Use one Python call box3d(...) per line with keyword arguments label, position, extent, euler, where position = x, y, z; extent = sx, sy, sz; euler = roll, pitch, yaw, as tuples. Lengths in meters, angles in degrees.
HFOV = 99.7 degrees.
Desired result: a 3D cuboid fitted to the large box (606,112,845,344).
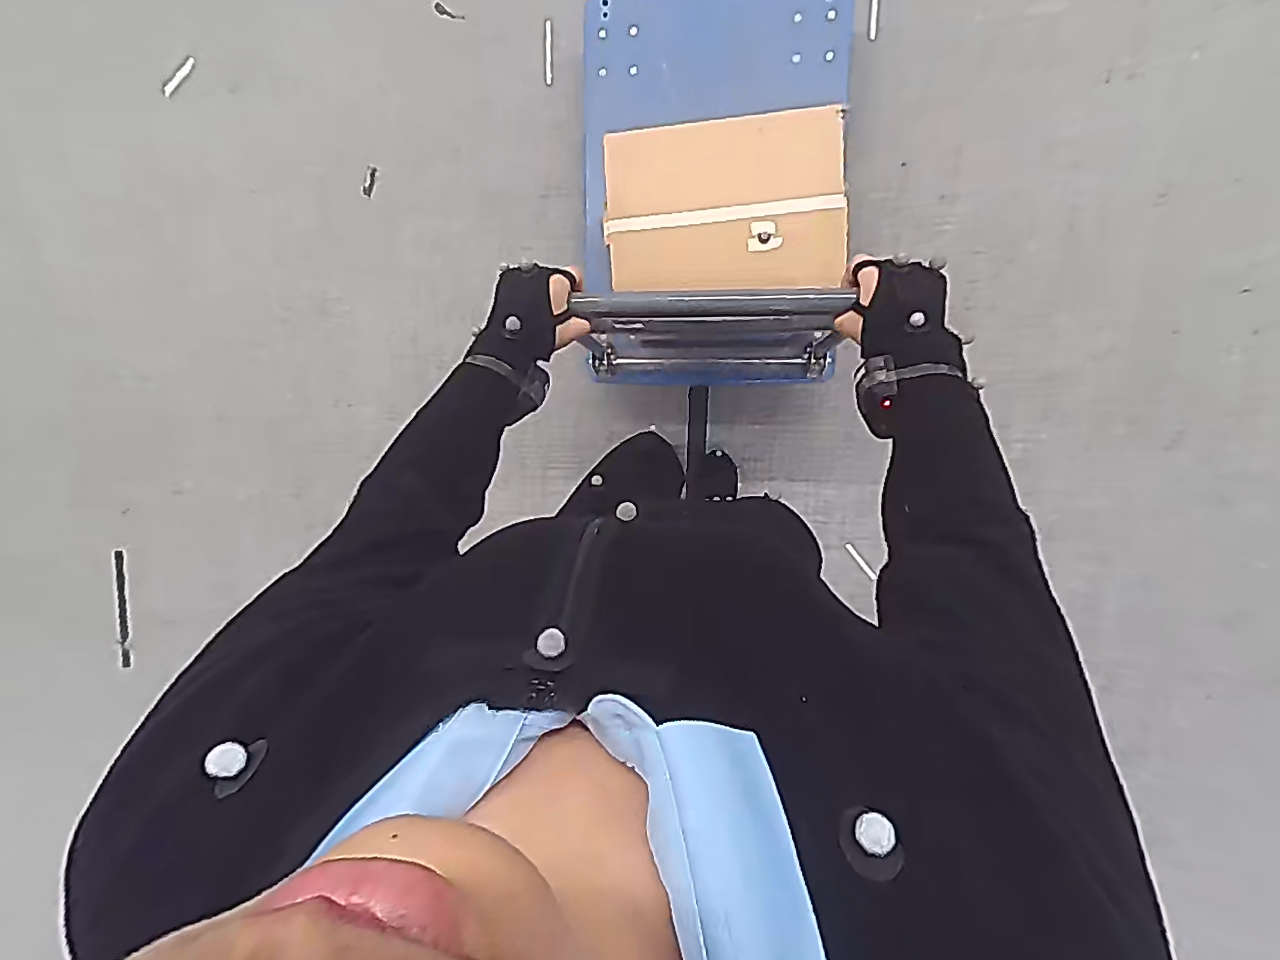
box3d(label="large box", position=(0.161, -0.468, 1.089), extent=(0.408, 0.320, 0.320), euler=(-3, 96, 6))
